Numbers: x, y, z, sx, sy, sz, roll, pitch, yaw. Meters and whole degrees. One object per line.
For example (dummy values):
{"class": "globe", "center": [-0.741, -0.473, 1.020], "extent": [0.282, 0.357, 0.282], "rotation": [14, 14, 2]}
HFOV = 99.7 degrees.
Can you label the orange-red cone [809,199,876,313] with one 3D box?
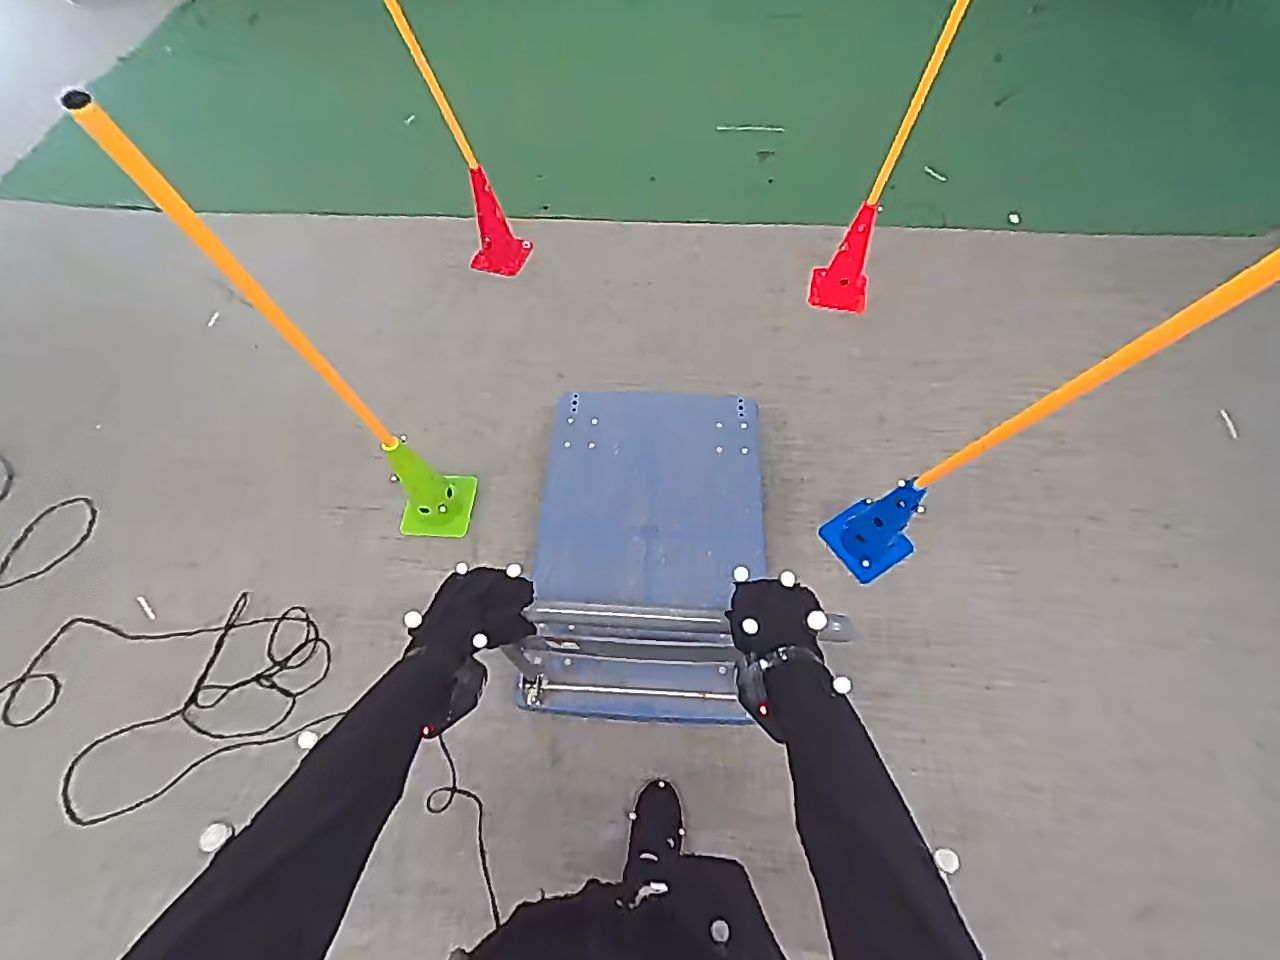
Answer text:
{"class": "orange-red cone", "center": [0.720, -0.772, 1.824], "extent": [0.198, 0.360, 0.199], "rotation": [13, 64, 9]}
